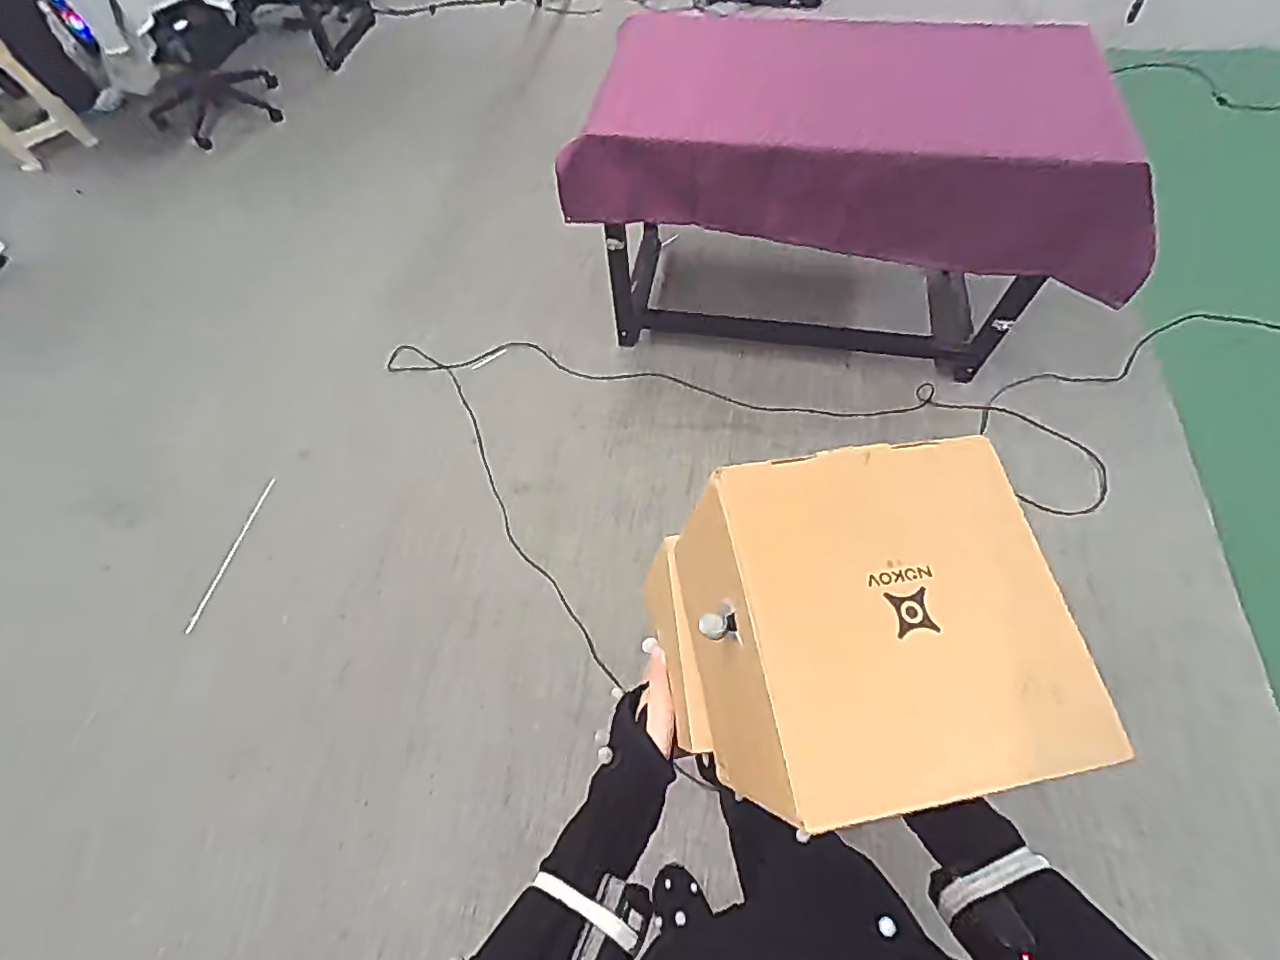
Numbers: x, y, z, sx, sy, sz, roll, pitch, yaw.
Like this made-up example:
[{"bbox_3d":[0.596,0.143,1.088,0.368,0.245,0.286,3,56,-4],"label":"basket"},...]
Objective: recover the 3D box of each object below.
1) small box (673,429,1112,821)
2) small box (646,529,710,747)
[{"bbox_3d":[0.122,0.090,0.347,0.168,0.176,0.179,-8,66,-7],"label":"small box"},{"bbox_3d":[0.104,0.144,0.500,0.179,0.176,0.168,-4,67,-5],"label":"small box"}]
